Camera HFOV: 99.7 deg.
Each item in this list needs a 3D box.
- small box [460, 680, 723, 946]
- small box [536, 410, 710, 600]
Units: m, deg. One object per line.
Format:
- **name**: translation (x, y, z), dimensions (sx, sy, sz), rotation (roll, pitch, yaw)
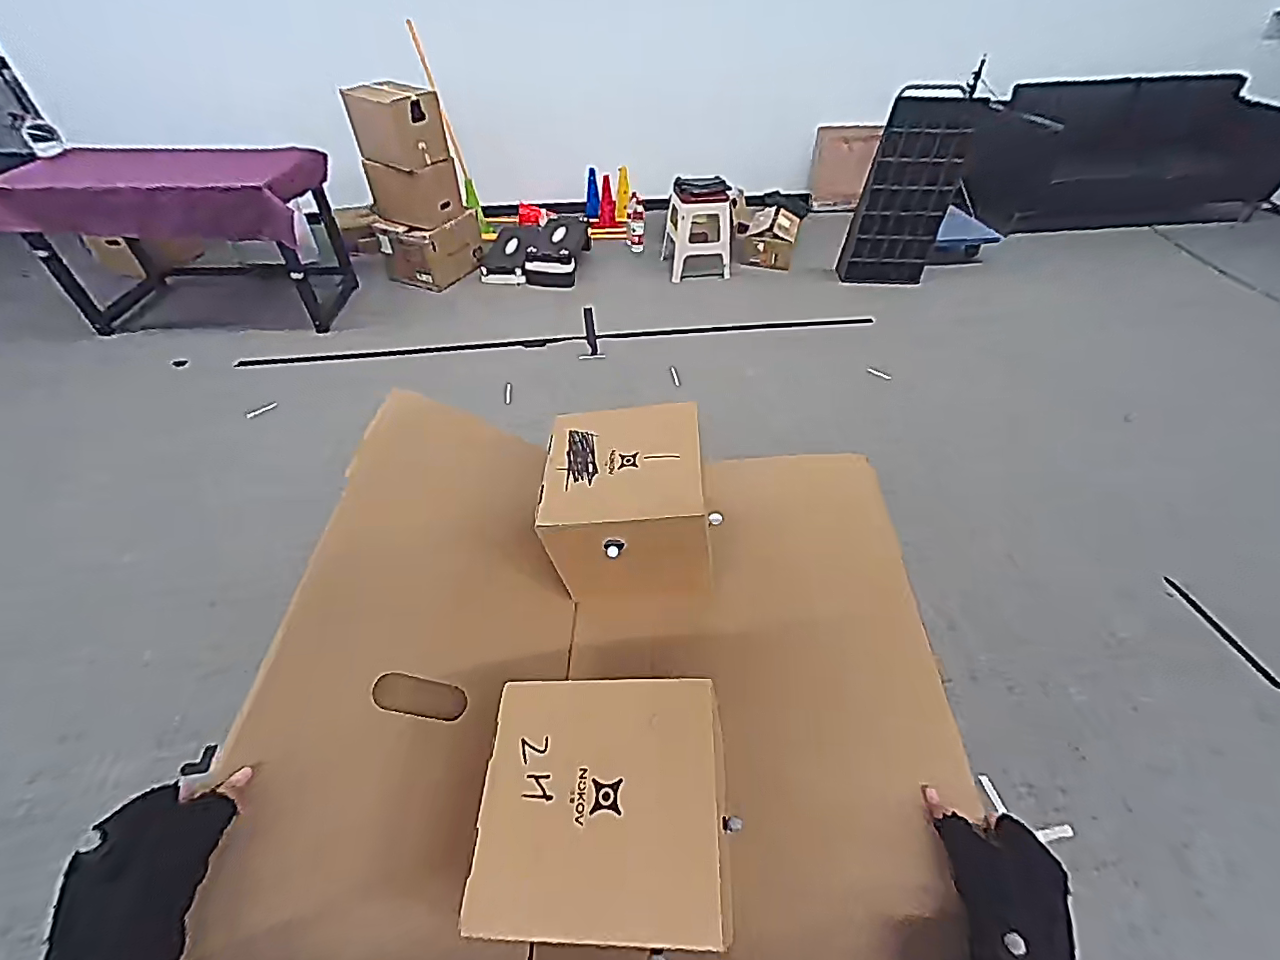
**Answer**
- **small box**: translation (-0.020, 0.282, 0.462), dimensions (0.179, 0.176, 0.168), rotation (-4, 50, 9)
- **small box**: translation (-0.009, 0.037, 0.665), dimensions (0.179, 0.176, 0.168), rotation (-4, 50, 8)
